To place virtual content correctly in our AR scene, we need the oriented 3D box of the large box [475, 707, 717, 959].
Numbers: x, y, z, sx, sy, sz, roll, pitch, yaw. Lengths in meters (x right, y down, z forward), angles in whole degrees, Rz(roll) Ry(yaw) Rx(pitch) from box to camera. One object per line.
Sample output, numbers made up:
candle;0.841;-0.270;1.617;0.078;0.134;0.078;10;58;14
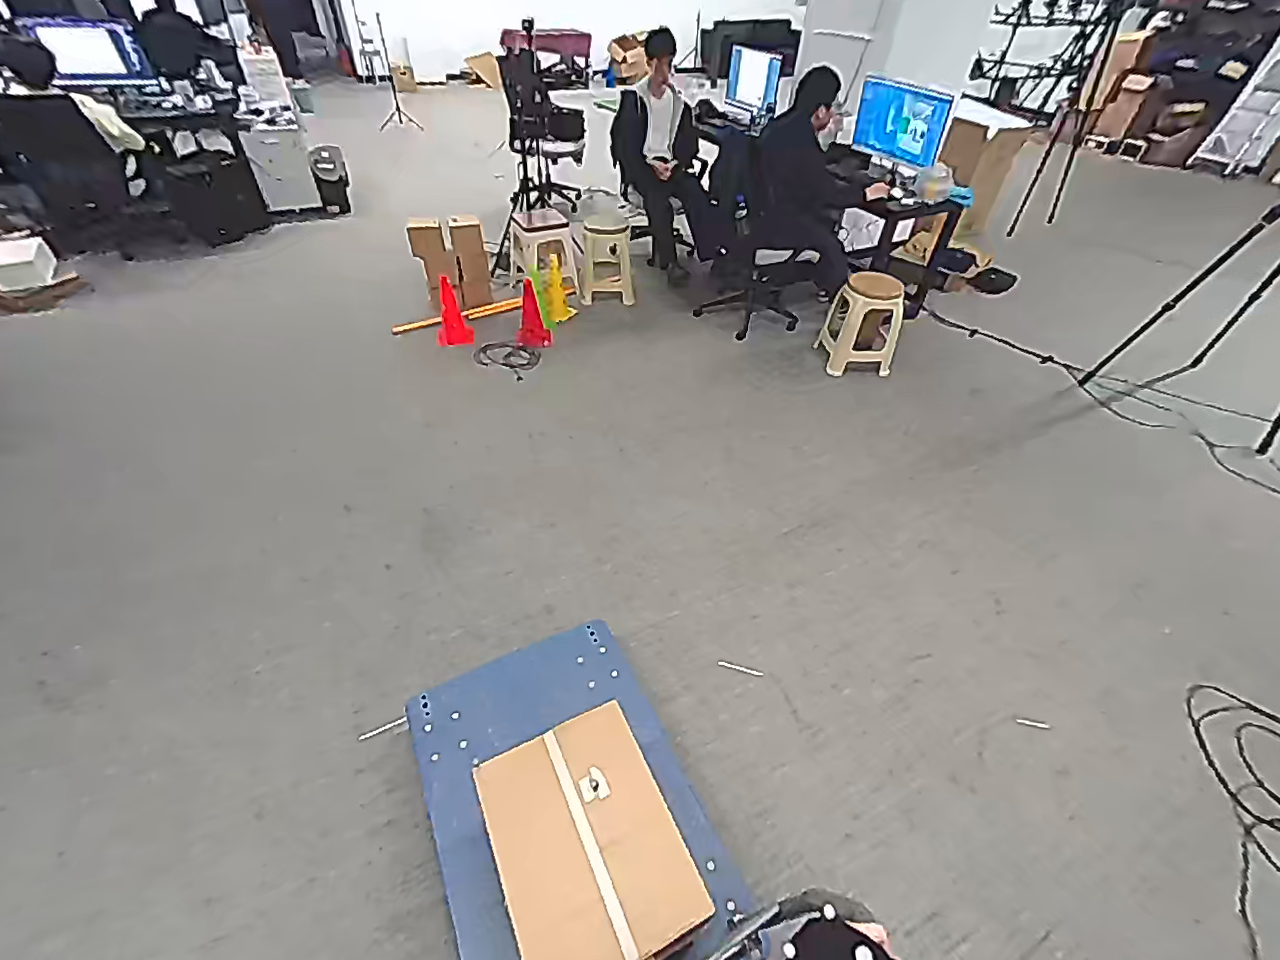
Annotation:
large box;-0.095;0.756;1.072;0.320;0.320;0.408;-18;46;-21
